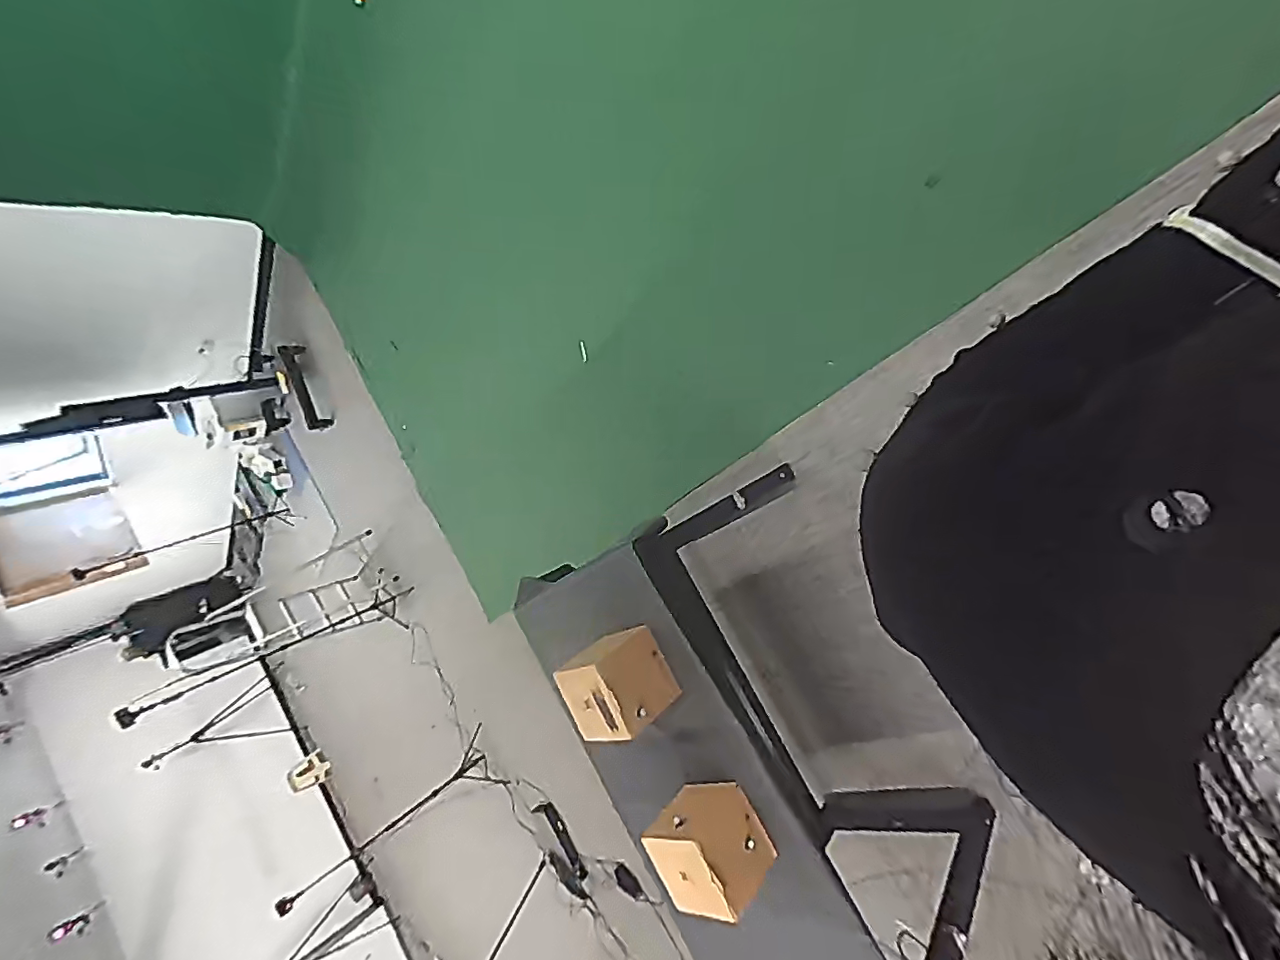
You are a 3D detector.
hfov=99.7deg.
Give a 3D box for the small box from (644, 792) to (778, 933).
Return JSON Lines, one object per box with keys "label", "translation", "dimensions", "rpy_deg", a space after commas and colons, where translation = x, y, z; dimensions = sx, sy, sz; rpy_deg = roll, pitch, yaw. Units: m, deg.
{"label": "small box", "translation": [0.147, 0.771, 1.110], "dimensions": [0.179, 0.176, 0.168], "rpy_deg": [-36, 81, 43]}
